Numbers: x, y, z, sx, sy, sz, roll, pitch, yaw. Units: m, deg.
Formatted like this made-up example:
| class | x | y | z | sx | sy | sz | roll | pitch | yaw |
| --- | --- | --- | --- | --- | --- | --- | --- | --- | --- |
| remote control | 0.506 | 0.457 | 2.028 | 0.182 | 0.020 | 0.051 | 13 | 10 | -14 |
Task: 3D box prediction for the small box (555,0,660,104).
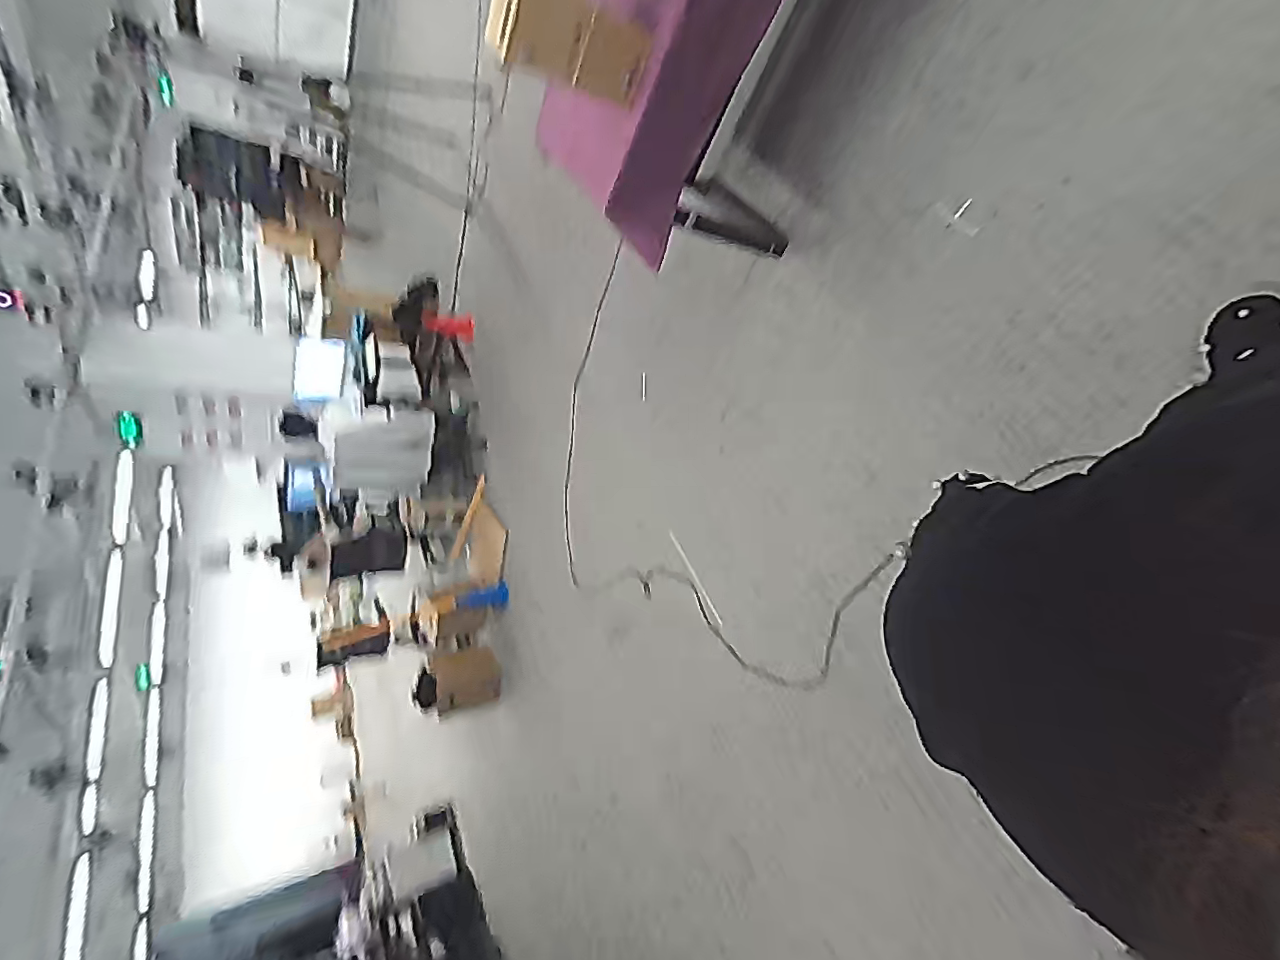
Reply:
| class | x | y | z | sx | sy | sz | roll | pitch | yaw |
| --- | --- | --- | --- | --- | --- | --- | --- | --- | --- |
| small box | -0.082 | -1.059 | 1.321 | 0.179 | 0.176 | 0.168 | 60 | 136 | 31 |
